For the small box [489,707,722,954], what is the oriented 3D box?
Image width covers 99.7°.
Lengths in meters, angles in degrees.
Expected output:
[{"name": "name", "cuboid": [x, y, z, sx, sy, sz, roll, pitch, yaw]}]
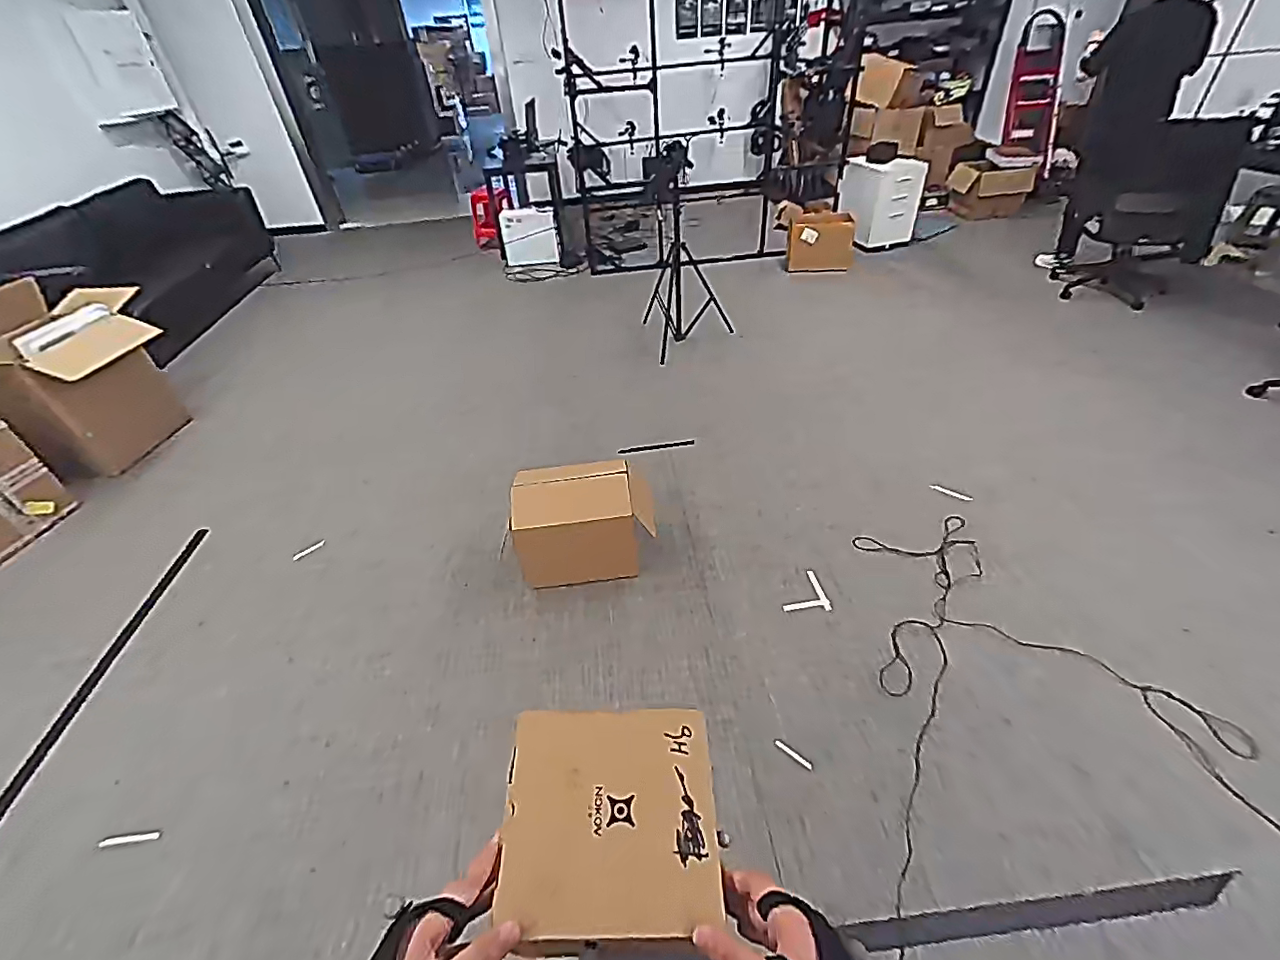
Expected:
[{"name": "small box", "cuboid": [-0.026, 0.329, 0.508, 0.179, 0.176, 0.168, 0, 45, -1]}]
